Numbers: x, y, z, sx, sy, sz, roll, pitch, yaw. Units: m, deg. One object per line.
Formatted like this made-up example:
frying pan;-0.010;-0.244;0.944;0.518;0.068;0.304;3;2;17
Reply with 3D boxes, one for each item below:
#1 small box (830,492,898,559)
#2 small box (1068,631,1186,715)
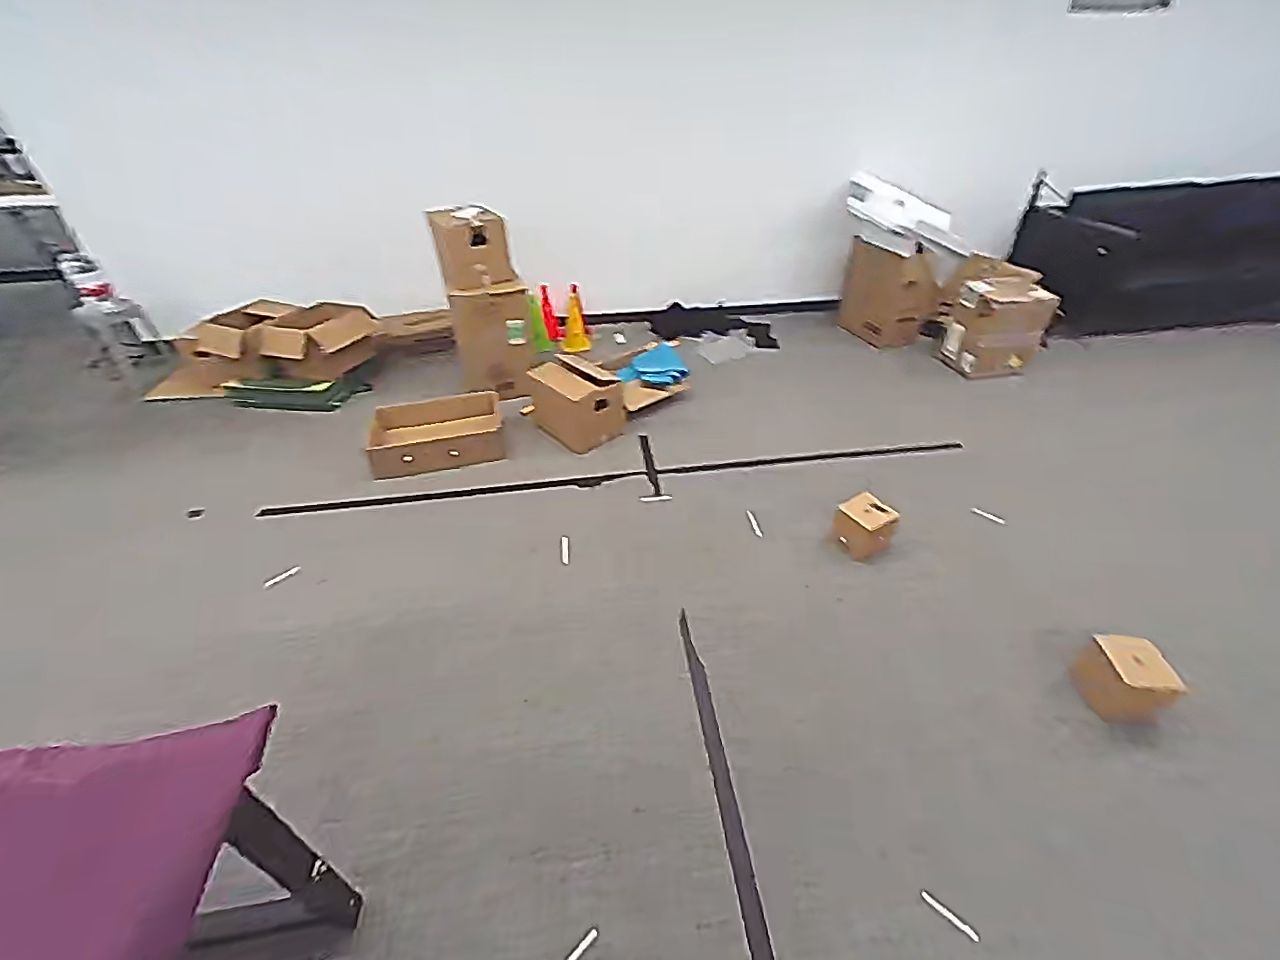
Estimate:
small box;0.886;0.181;2.157;0.179;0.176;0.168;-21;41;-23
small box;1.449;0.581;1.624;0.168;0.176;0.179;3;36;3
